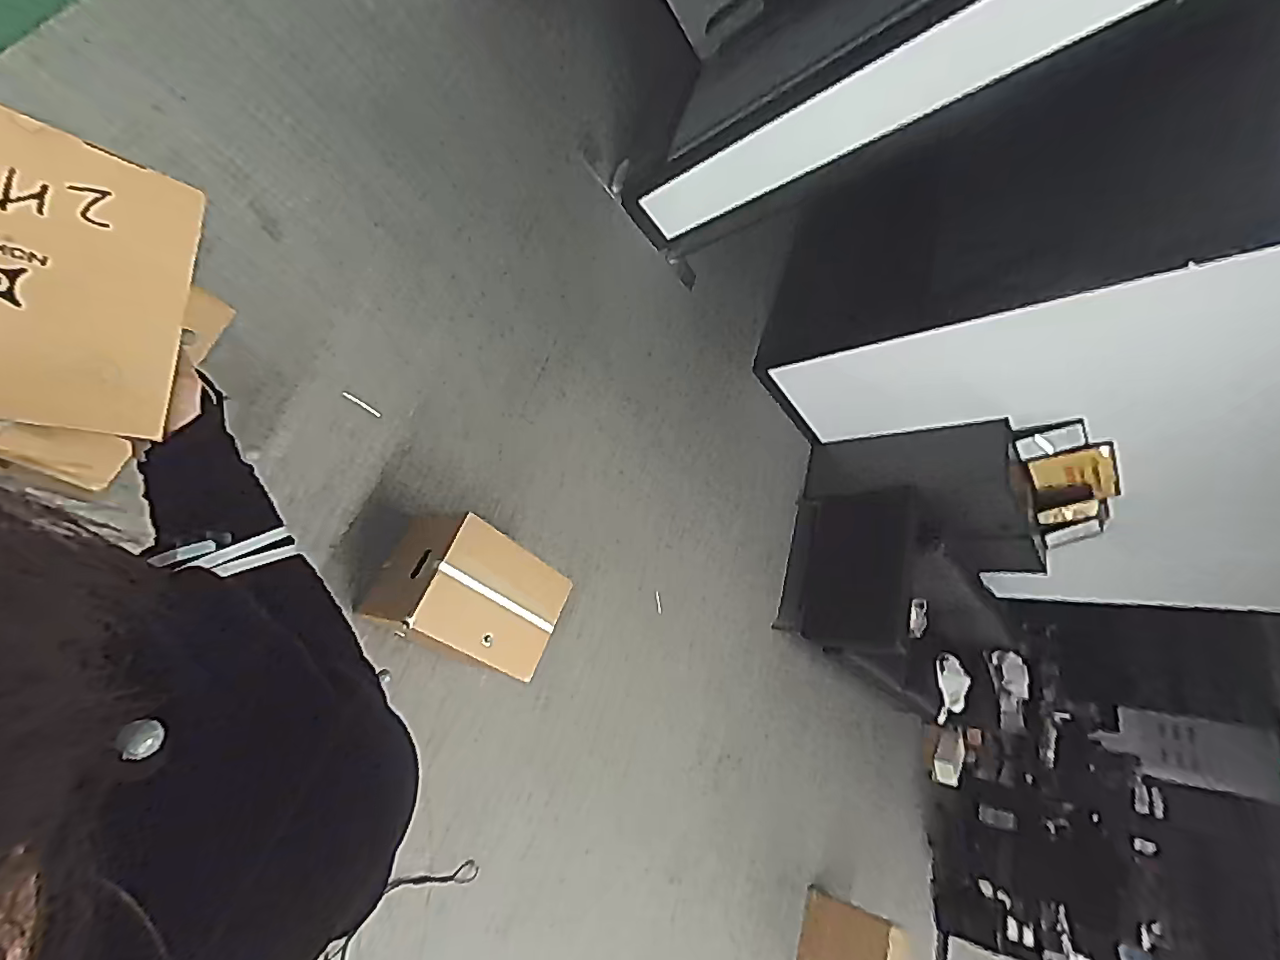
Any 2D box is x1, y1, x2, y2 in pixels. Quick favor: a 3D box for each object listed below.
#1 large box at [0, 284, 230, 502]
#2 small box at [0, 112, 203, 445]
[{"bbox_3d":[-1.048,-0.211,0.978,0.320,0.320,0.408,37,58,-39],"label":"large box"},{"bbox_3d":[-0.424,-0.130,0.357,0.168,0.176,0.179,10,91,-51],"label":"small box"}]
